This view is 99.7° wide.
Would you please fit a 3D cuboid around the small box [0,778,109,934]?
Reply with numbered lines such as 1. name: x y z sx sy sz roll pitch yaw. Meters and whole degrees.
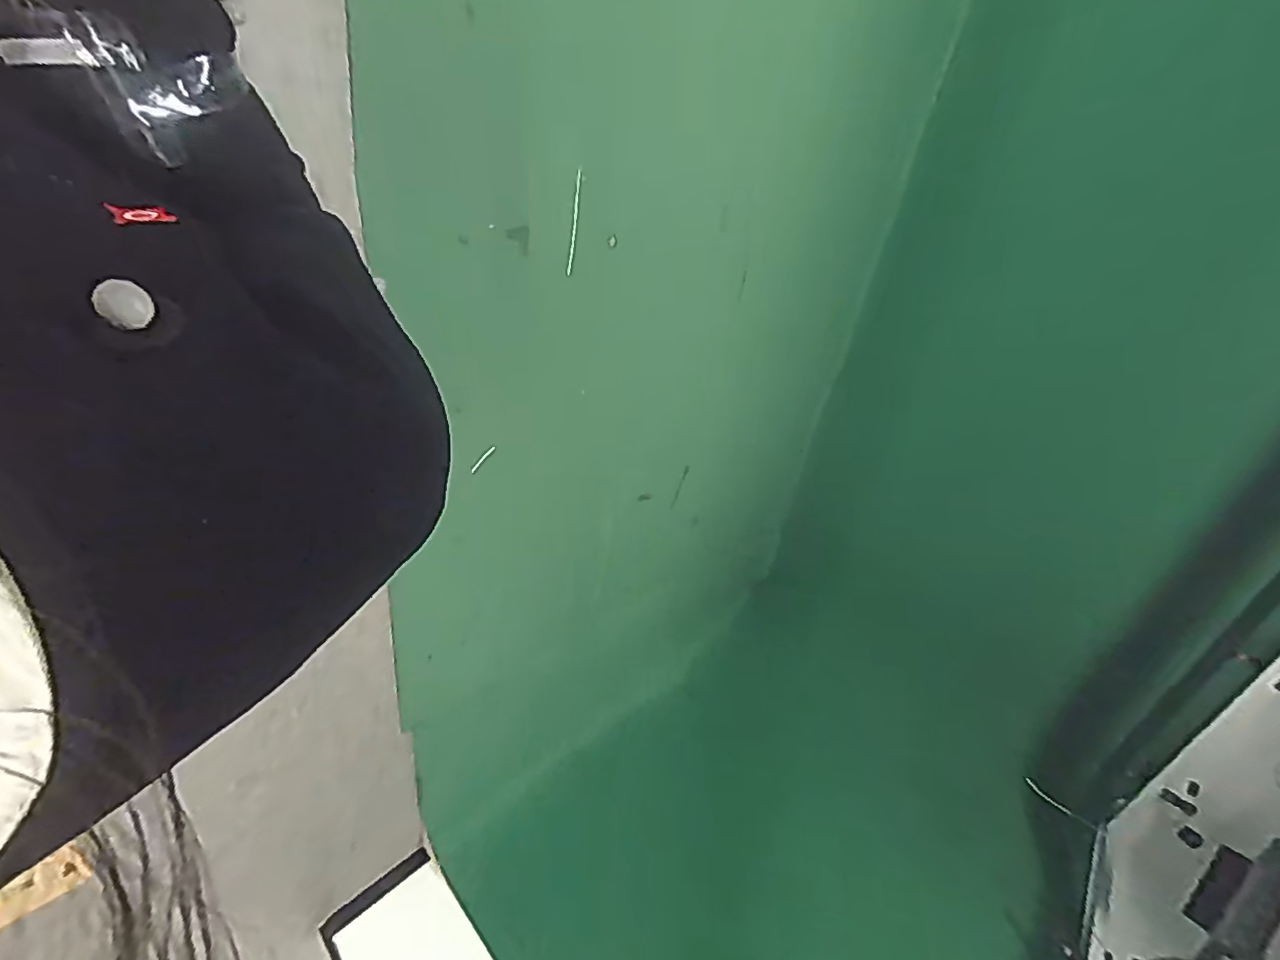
1. small box: -1.266 0.782 1.138 0.179 0.176 0.168 -18 128 -45
